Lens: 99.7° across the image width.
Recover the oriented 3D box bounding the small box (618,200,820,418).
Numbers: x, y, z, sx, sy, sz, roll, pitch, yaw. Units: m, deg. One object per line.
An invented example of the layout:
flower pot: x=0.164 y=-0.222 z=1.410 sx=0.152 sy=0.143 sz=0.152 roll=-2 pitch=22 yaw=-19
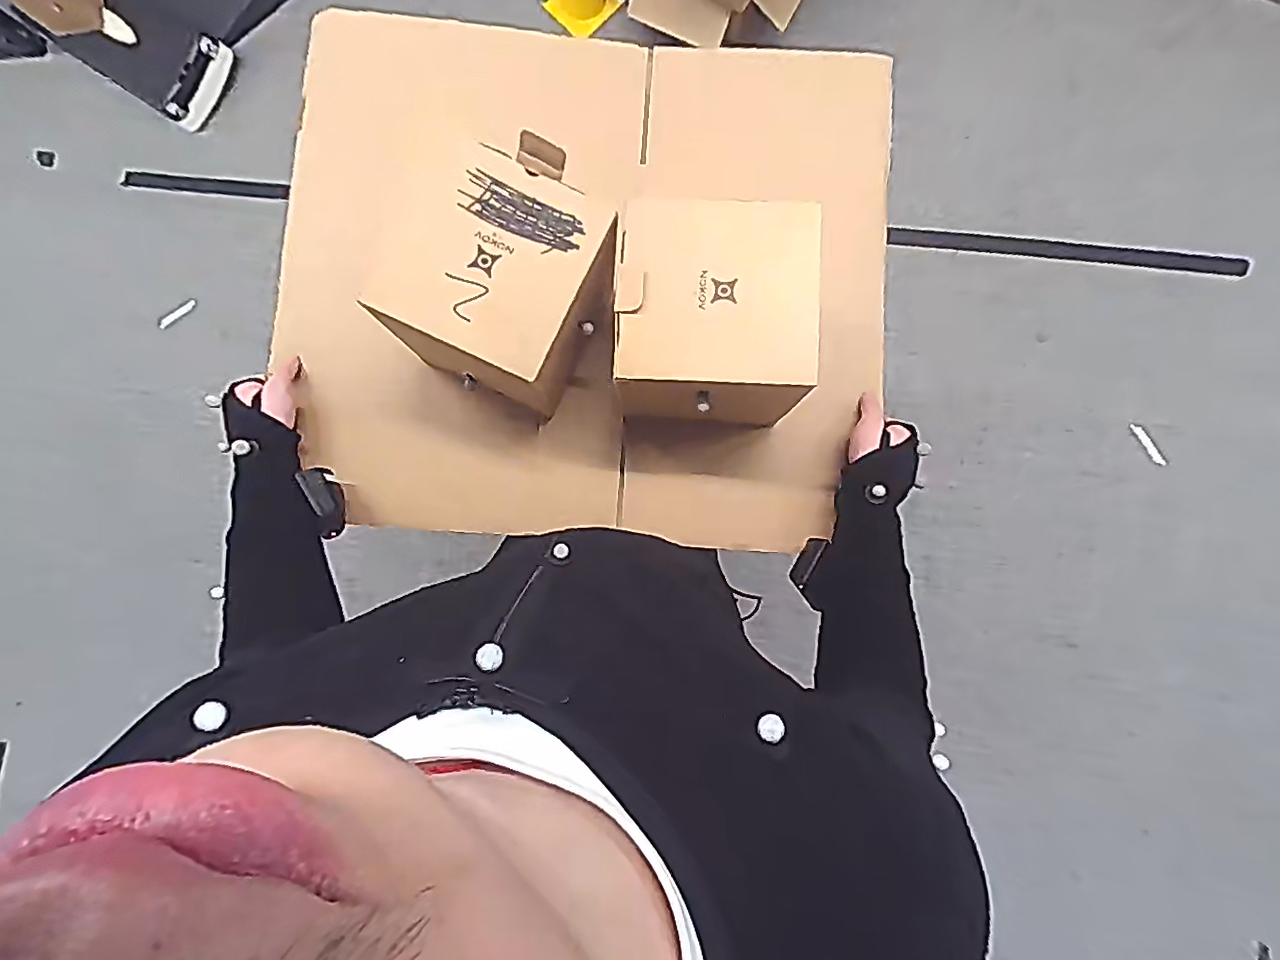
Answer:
small box: x=0.074 y=-0.163 z=0.563 sx=0.179 sy=0.176 sz=0.168 roll=3 pitch=85 yaw=3
